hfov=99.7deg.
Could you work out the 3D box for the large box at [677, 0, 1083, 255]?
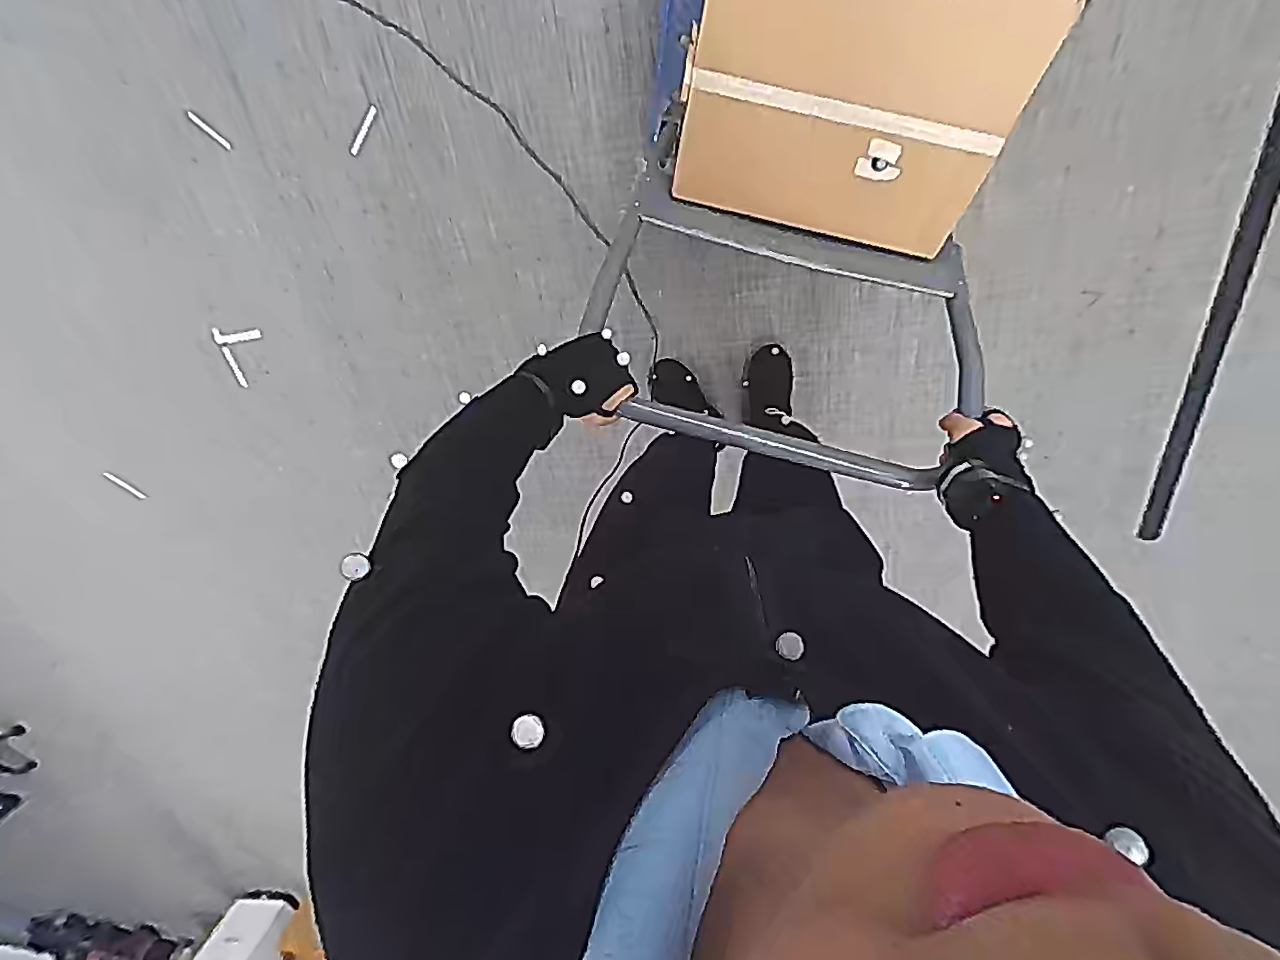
[{"bbox_3d":[0.292,-0.585,0.788,0.408,0.320,0.320,14,142,1],"label":"large box"}]
